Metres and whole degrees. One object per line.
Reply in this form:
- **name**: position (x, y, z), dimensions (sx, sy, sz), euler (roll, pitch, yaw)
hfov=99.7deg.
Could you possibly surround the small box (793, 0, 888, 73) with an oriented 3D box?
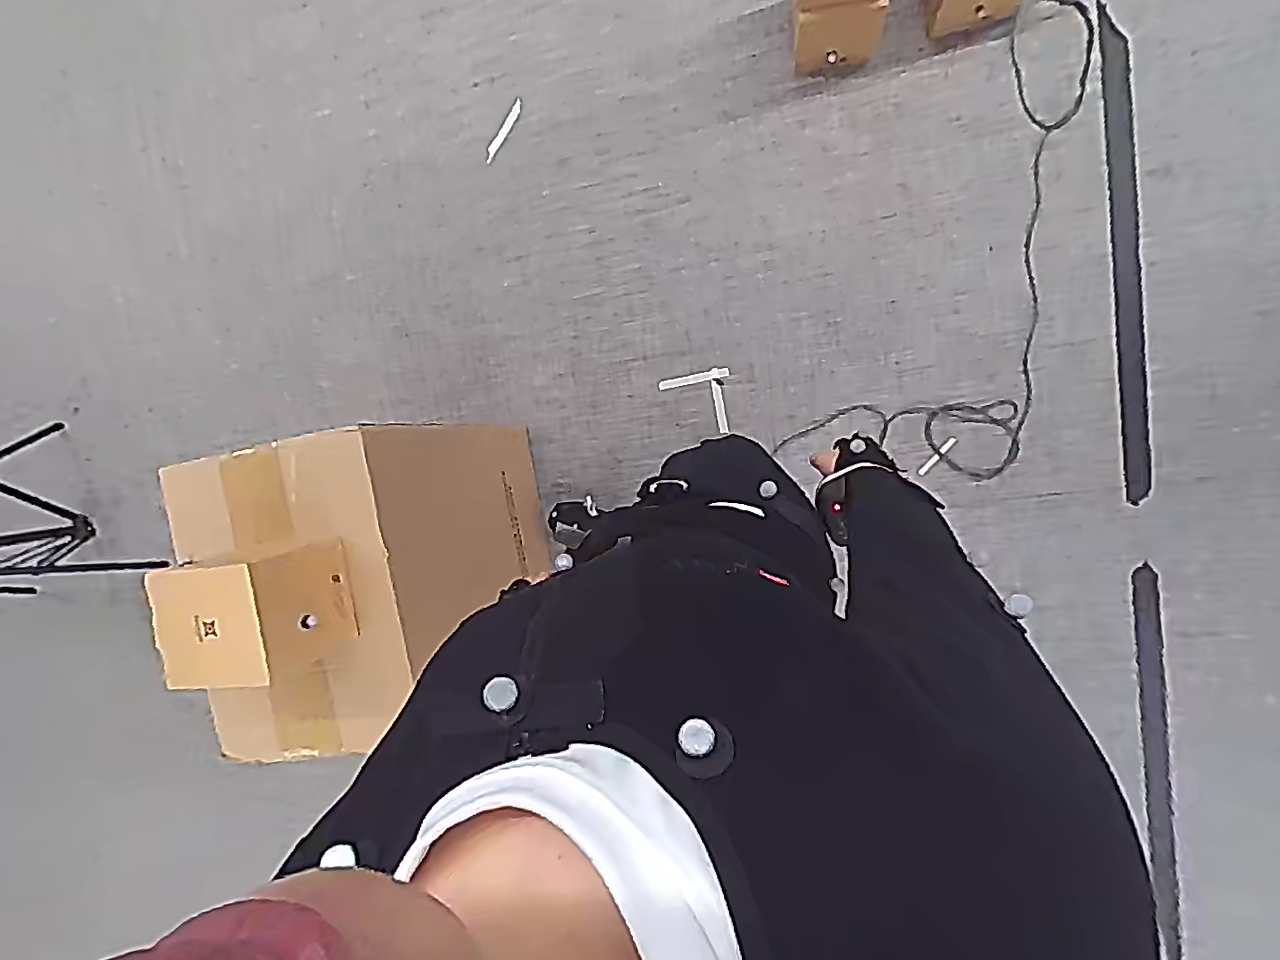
- **small box**: position (0.403, -0.985, 1.104), dimensions (0.168, 0.176, 0.179), euler (0, 97, 13)

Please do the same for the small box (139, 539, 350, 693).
- **small box**: position (-0.547, 0.186, 0.776), dimensions (0.179, 0.176, 0.168), euler (-7, 94, 13)

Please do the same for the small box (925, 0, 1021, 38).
- **small box**: position (0.659, -1.020, 1.045), dimensions (0.168, 0.176, 0.179), euler (-6, 95, 14)
